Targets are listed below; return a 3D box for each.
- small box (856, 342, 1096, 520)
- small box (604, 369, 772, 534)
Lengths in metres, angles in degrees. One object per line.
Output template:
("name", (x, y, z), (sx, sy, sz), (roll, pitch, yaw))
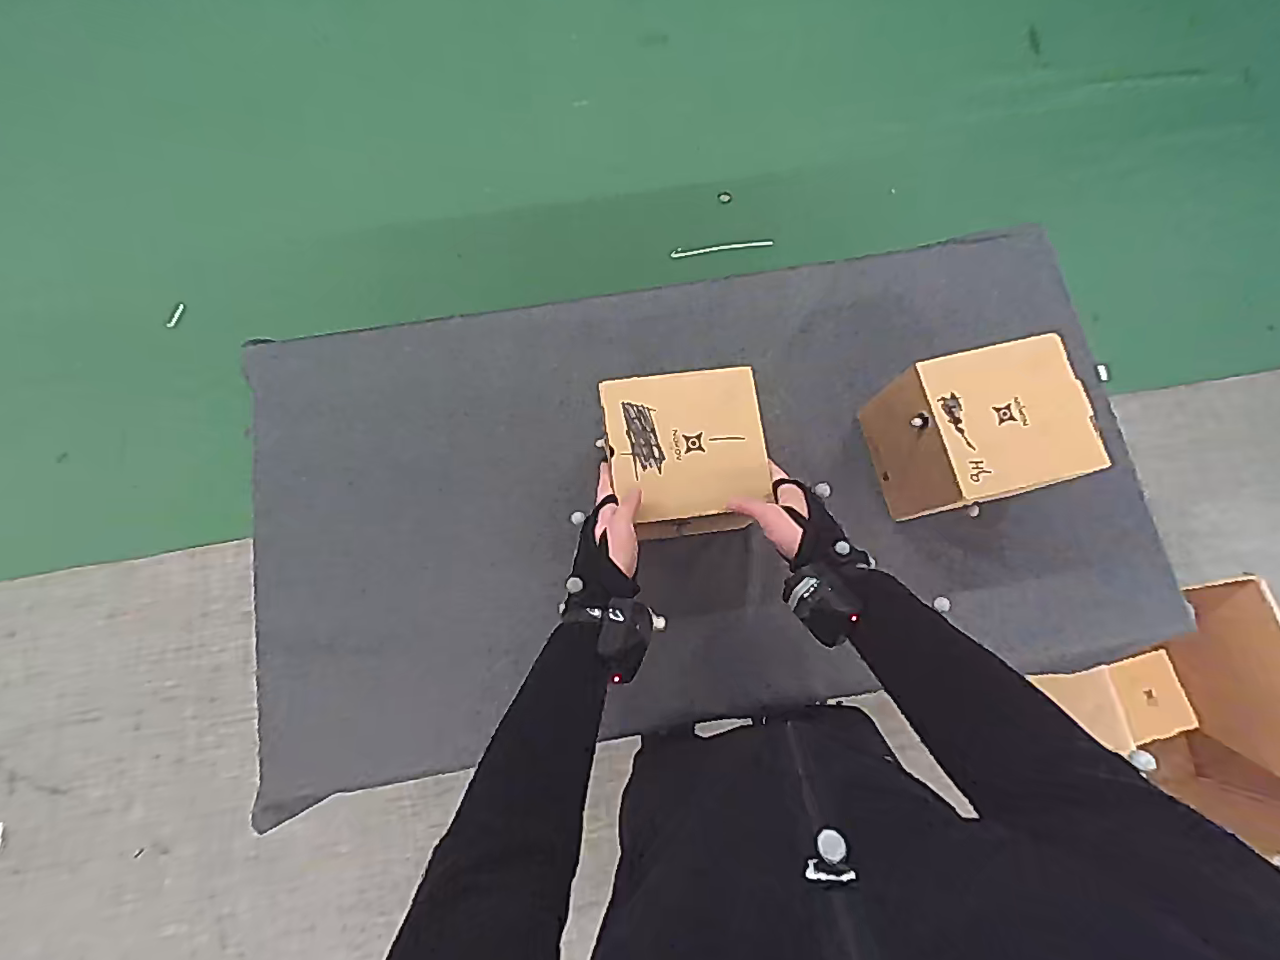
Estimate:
("small box", (0.414, -0.053, 0.699), (0.179, 0.176, 0.168), (-14, 80, -3))
("small box", (0.050, -0.026, 0.666), (0.179, 0.176, 0.168), (-3, 79, -1))
